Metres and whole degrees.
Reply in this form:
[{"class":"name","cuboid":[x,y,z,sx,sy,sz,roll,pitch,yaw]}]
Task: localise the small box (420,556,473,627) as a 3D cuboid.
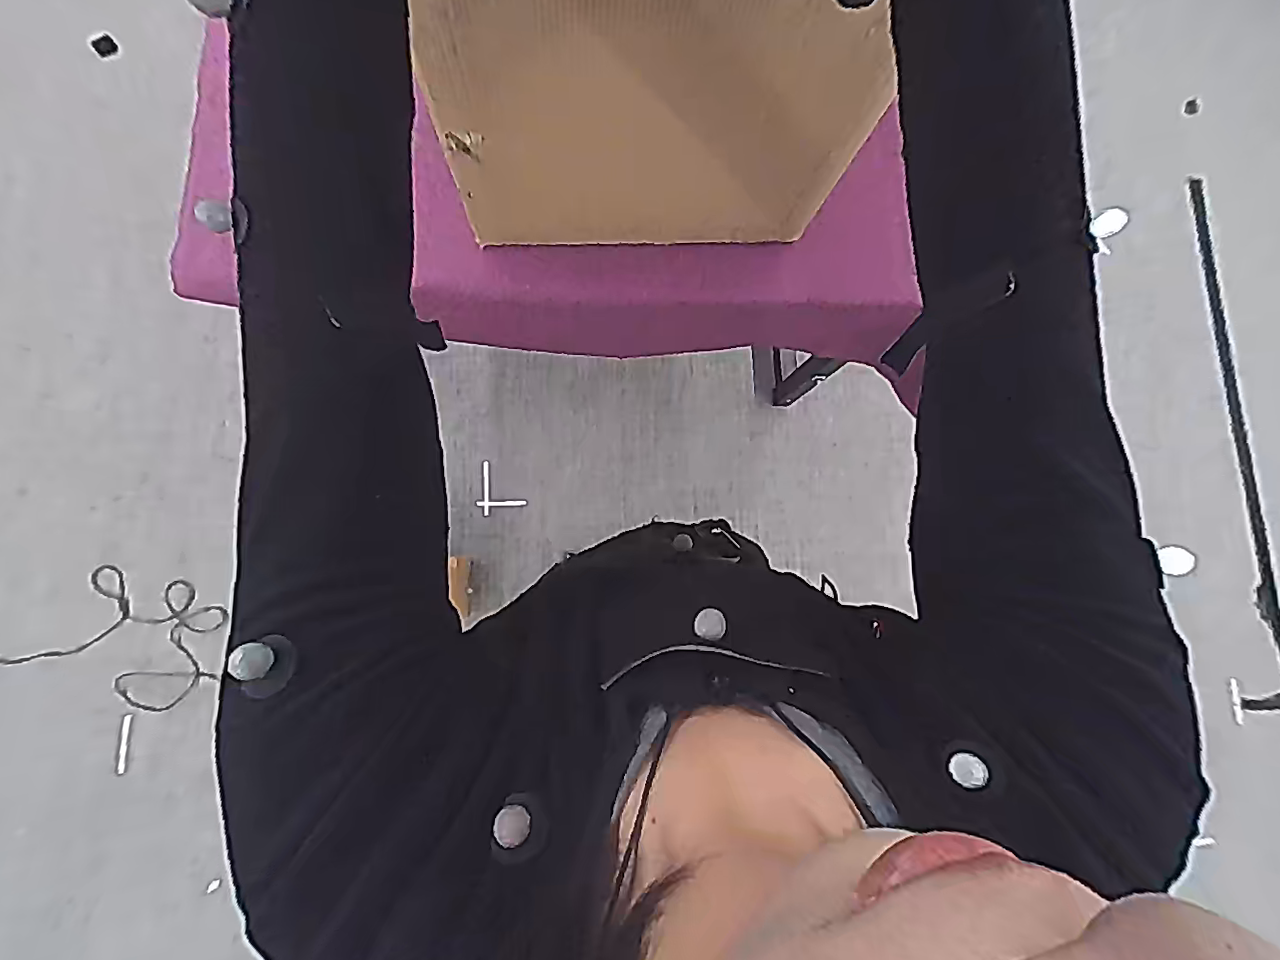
[{"class":"small box","cuboid":[-0.538,0.280,1.378,0.179,0.176,0.168,1,82,-6]}]
